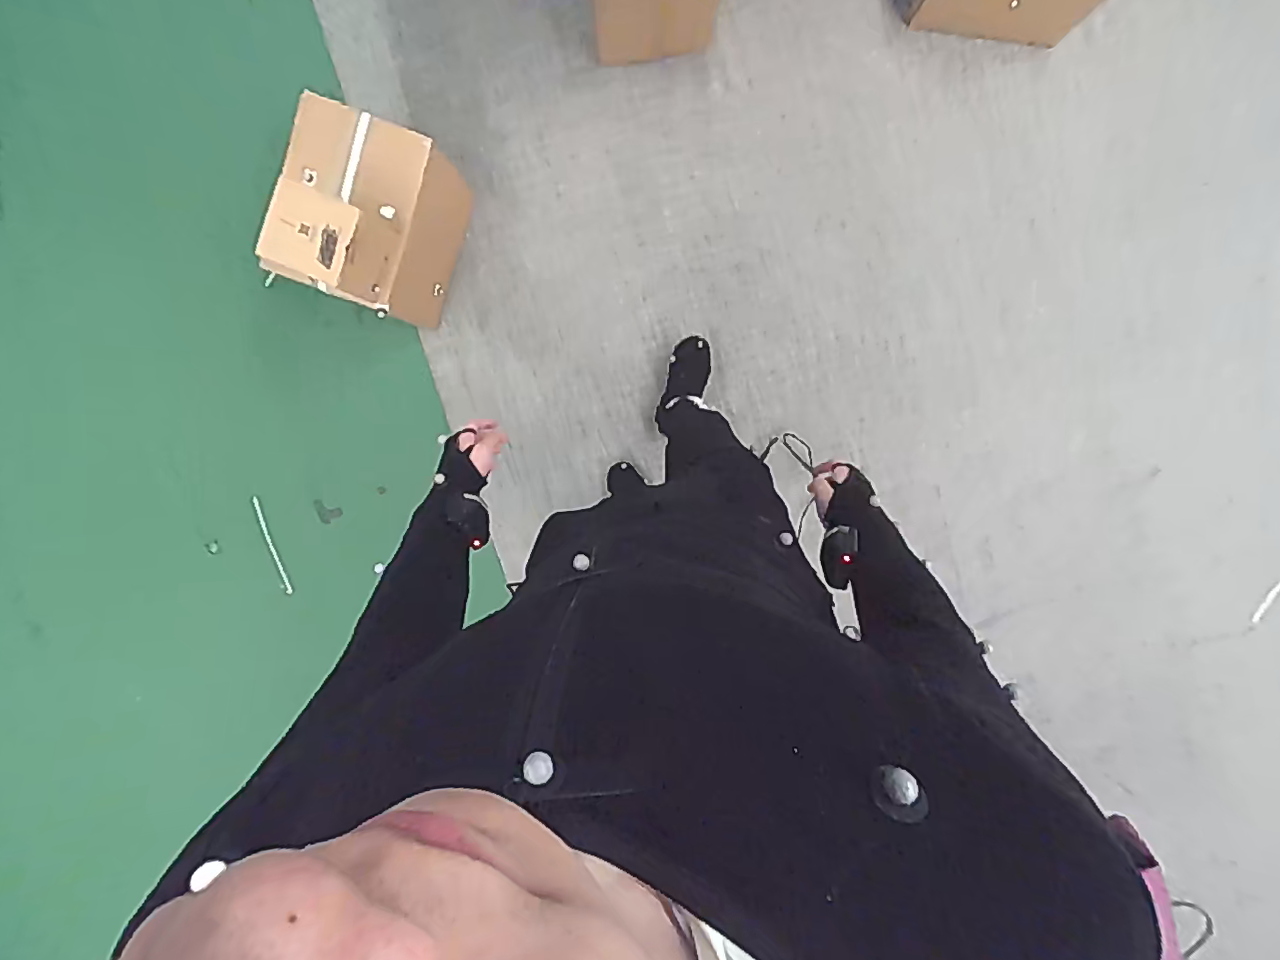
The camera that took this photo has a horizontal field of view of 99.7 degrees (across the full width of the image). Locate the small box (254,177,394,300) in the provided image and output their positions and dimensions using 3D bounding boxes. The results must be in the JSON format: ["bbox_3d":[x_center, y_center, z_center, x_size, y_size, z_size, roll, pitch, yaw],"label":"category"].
[{"bbox_3d":[-0.662,-0.501,1.154,0.179,0.176,0.168,22,96,-2],"label":"small box"}]

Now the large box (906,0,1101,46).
[{"bbox_3d":[0.926,-1.315,1.290,0.408,0.320,0.320,7,97,1],"label":"large box"}]
